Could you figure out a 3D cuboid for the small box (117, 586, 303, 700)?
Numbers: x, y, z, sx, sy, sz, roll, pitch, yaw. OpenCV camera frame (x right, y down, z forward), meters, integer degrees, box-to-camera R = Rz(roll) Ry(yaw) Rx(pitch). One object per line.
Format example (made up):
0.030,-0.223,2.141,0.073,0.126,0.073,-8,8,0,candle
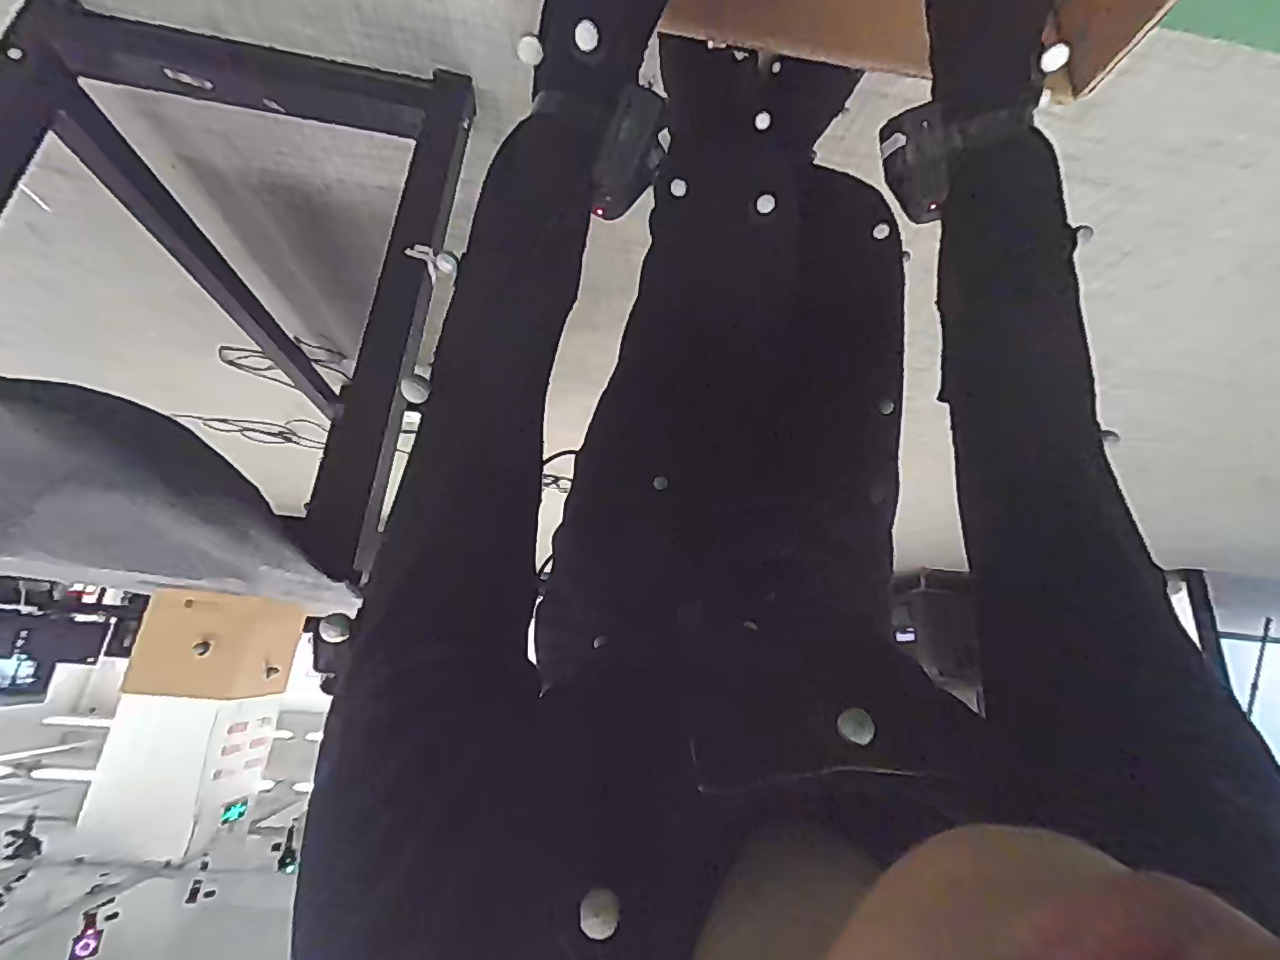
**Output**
-0.719,0.278,0.929,0.168,0.176,0.179,5,163,-4,small box
